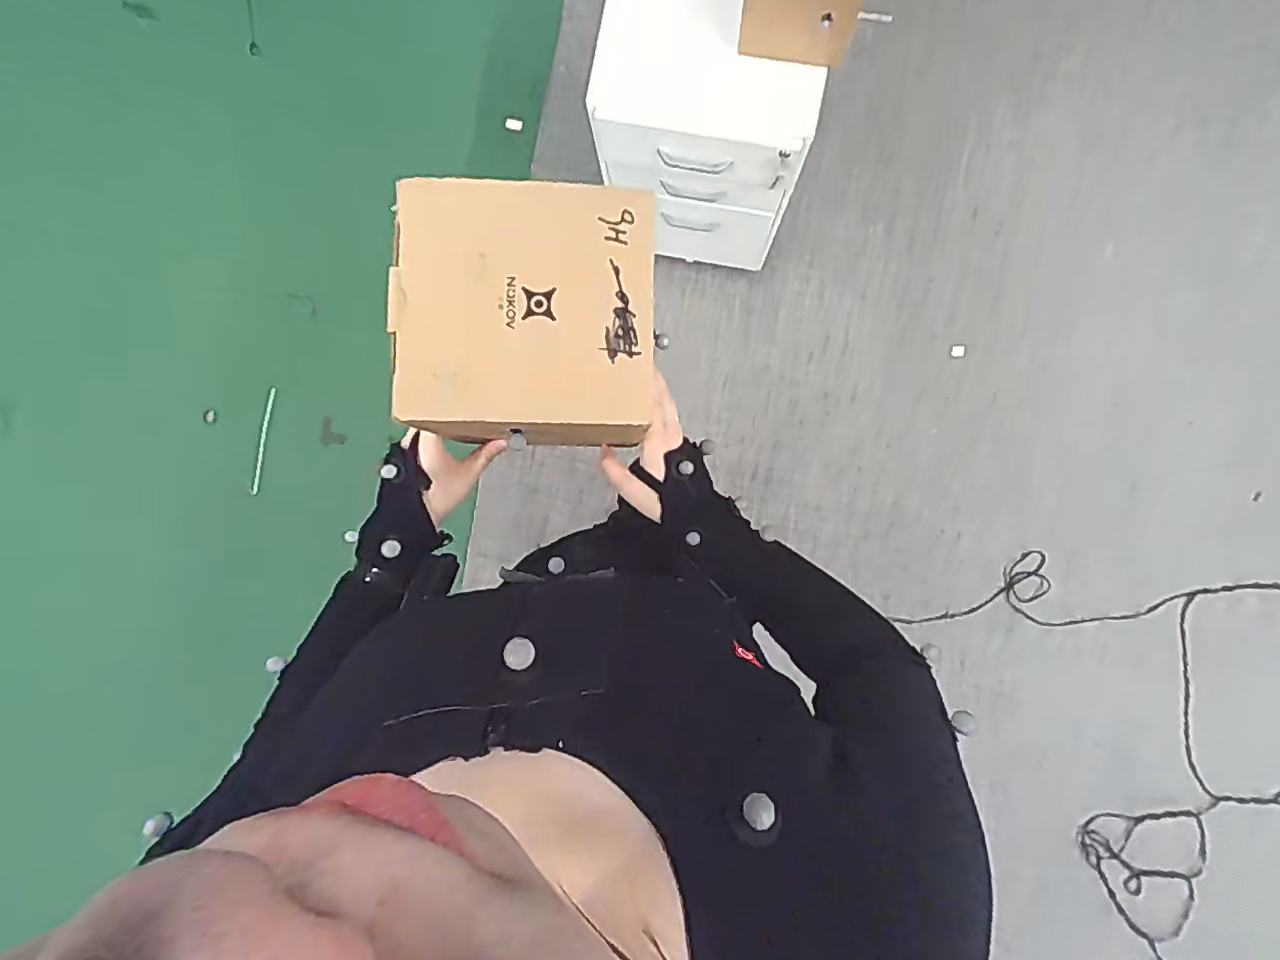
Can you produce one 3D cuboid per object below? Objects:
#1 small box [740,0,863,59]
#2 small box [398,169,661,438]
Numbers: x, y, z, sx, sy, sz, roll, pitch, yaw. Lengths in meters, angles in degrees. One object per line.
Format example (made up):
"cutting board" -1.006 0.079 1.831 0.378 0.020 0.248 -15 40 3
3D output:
"small box" 0.259 -0.786 0.819 0.179 0.176 0.168 11 89 5
"small box" -0.077 -0.124 0.445 0.179 0.176 0.168 1 89 -3
